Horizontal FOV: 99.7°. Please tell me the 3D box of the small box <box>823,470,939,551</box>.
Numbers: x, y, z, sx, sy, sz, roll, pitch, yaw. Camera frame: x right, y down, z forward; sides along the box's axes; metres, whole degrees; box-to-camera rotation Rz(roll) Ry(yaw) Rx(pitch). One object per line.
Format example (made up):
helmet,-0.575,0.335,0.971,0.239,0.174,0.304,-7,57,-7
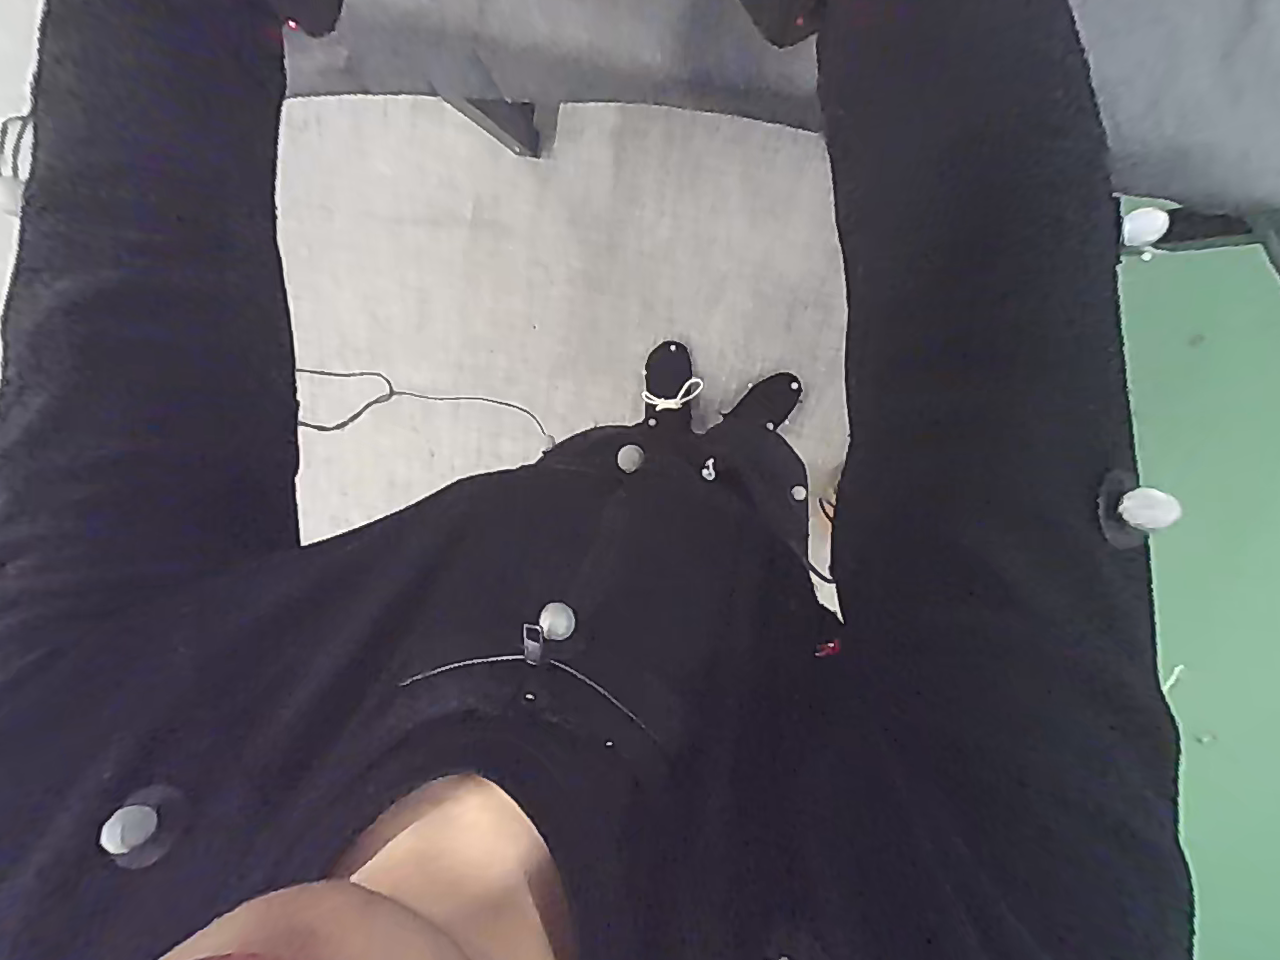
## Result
small box,0.558,0.090,1.280,0.179,0.176,0.168,17,108,2
